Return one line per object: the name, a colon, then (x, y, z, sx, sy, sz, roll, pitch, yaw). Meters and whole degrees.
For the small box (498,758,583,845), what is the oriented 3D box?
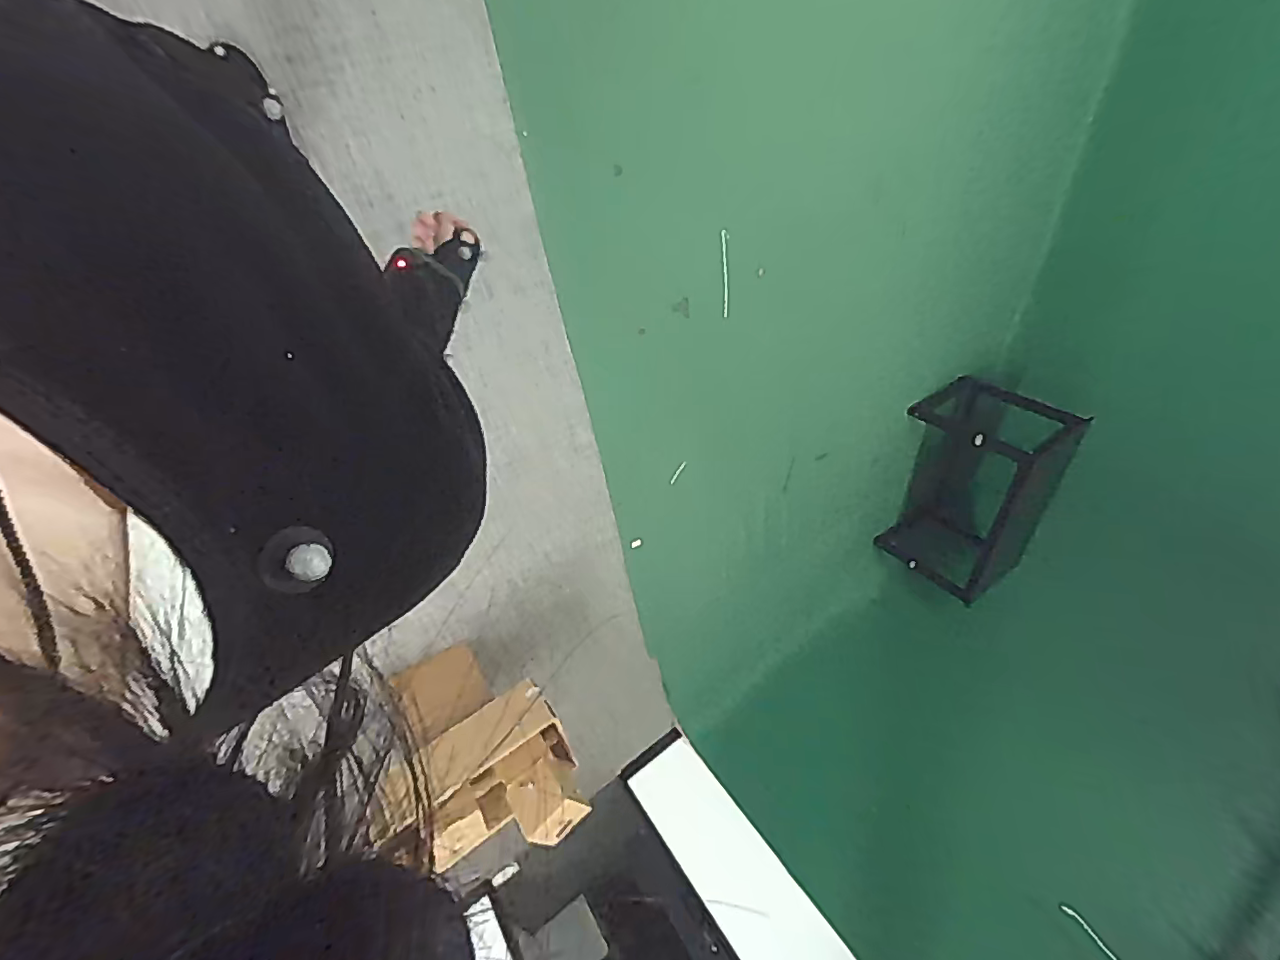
small box: (-0.320, 1.029, 1.738, 0.168, 0.176, 0.179, -43, 137, -11)

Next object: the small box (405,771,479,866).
small box: (-0.638, 1.078, 1.740, 0.168, 0.176, 0.179, -21, 131, -30)
